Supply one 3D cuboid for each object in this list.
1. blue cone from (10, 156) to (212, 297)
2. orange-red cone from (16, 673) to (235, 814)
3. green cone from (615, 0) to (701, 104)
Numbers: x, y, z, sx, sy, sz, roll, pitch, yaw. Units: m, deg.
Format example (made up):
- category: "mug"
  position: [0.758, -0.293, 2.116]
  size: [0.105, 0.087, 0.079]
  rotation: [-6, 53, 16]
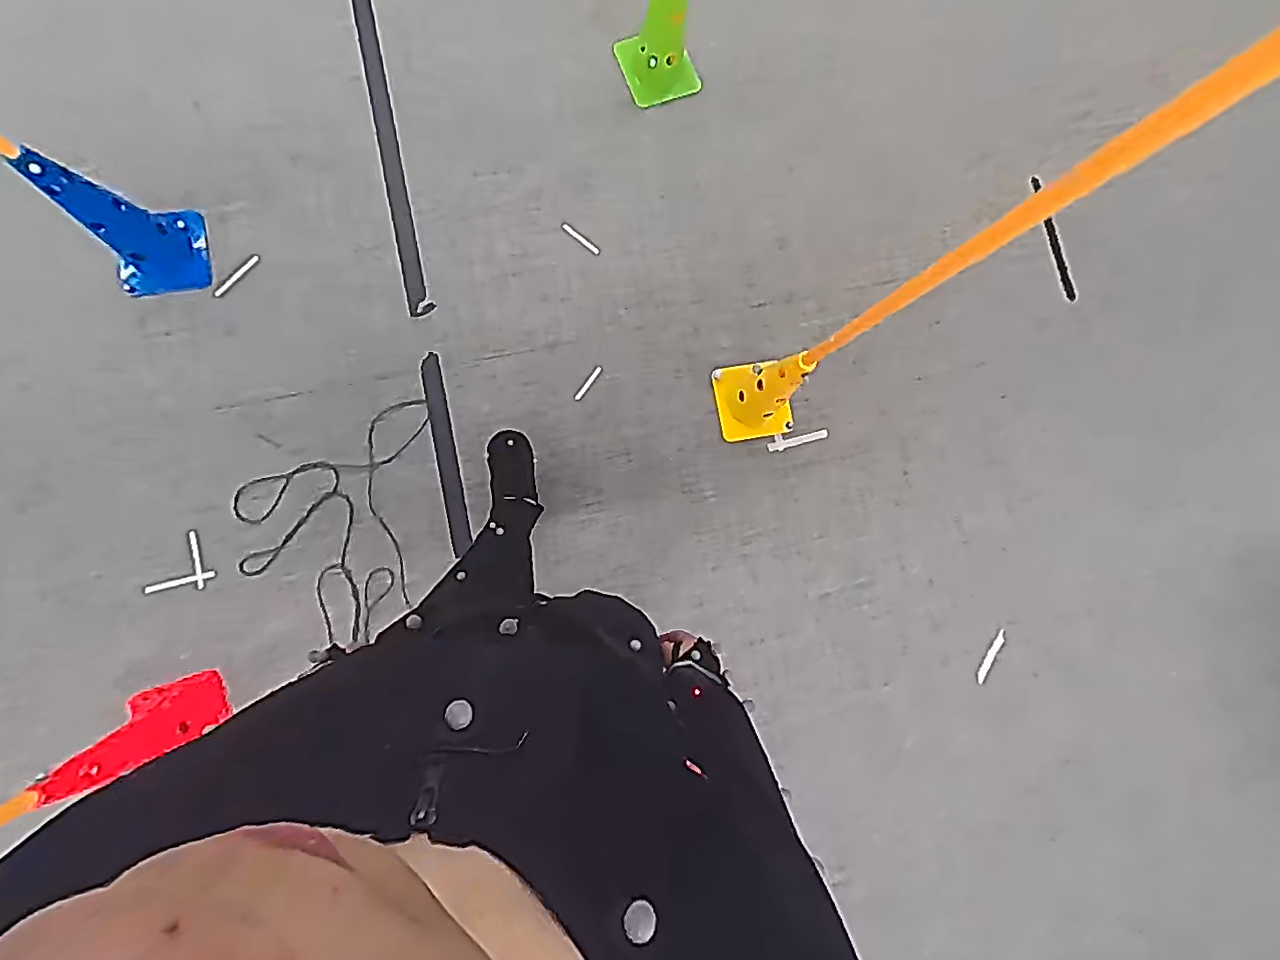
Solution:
- category: "blue cone"
  position: [-1.139, -0.561, 1.155]
  size: [0.193, 0.380, 0.192]
  rotation: [-9, 86, -7]
- category: "orange-red cone"
  position: [-1.013, 0.538, 1.051]
  size: [0.199, 0.360, 0.198]
  rotation: [-17, 87, -9]
- category: "green cone"
  position: [0.071, -1.169, 1.333]
  size: [0.200, 0.368, 0.202]
  rotation: [-23, 89, -8]
